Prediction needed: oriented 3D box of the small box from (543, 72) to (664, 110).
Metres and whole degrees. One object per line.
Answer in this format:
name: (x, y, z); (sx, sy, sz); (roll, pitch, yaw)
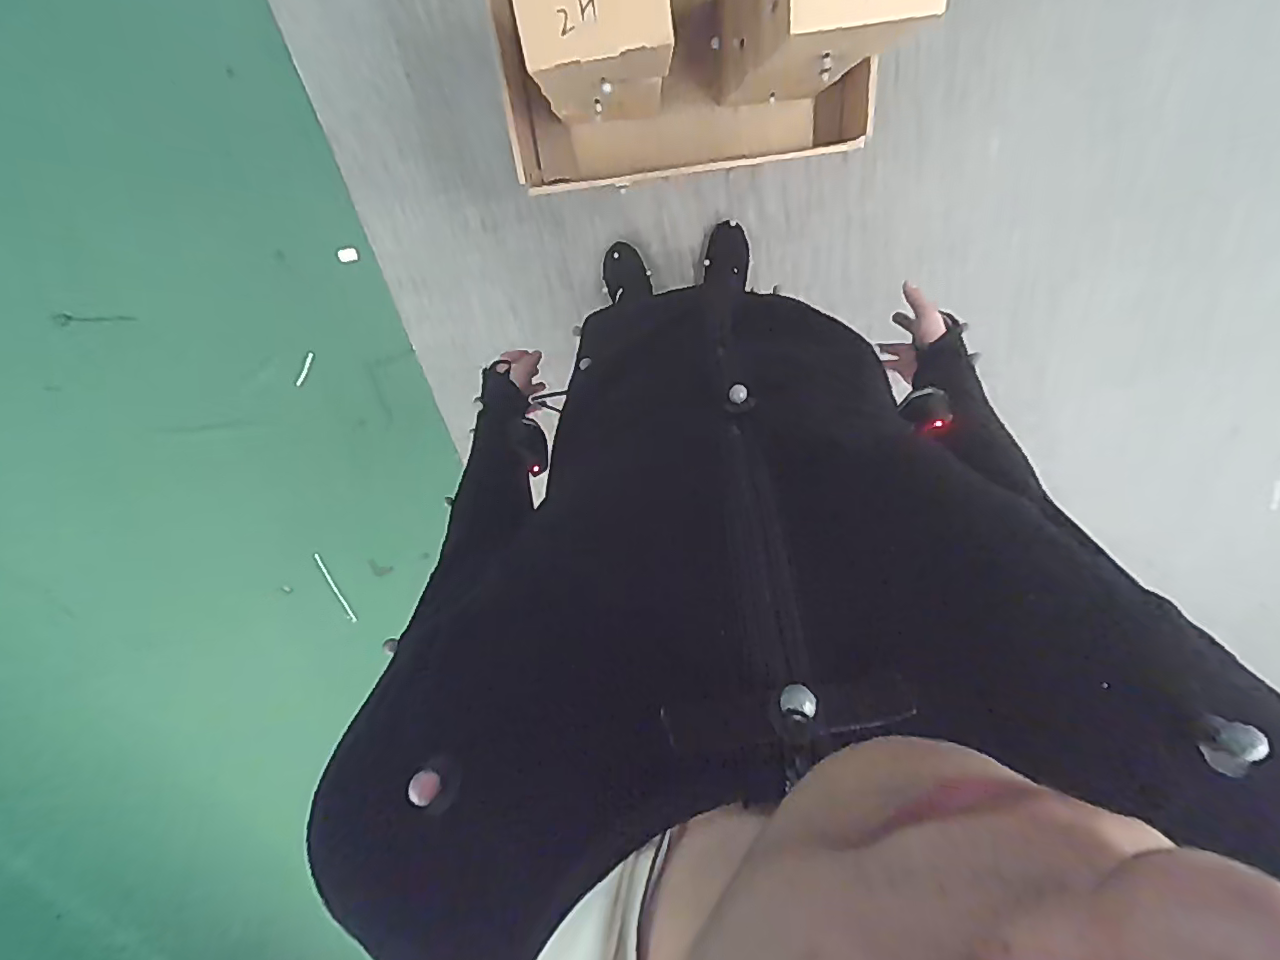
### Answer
small box: (-0.056, -0.652, 0.769); (0.168, 0.176, 0.179); (-4, 117, 3)

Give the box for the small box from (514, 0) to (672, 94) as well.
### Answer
small box: (-0.056, -0.577, 0.623); (0.168, 0.176, 0.179); (-7, 117, 5)

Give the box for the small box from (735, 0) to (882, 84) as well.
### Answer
small box: (0.226, -0.673, 0.749); (0.168, 0.176, 0.179); (-5, 115, 3)

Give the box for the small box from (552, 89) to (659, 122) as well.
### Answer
small box: (-0.057, -0.722, 0.918); (0.179, 0.176, 0.168); (-3, 117, 2)
